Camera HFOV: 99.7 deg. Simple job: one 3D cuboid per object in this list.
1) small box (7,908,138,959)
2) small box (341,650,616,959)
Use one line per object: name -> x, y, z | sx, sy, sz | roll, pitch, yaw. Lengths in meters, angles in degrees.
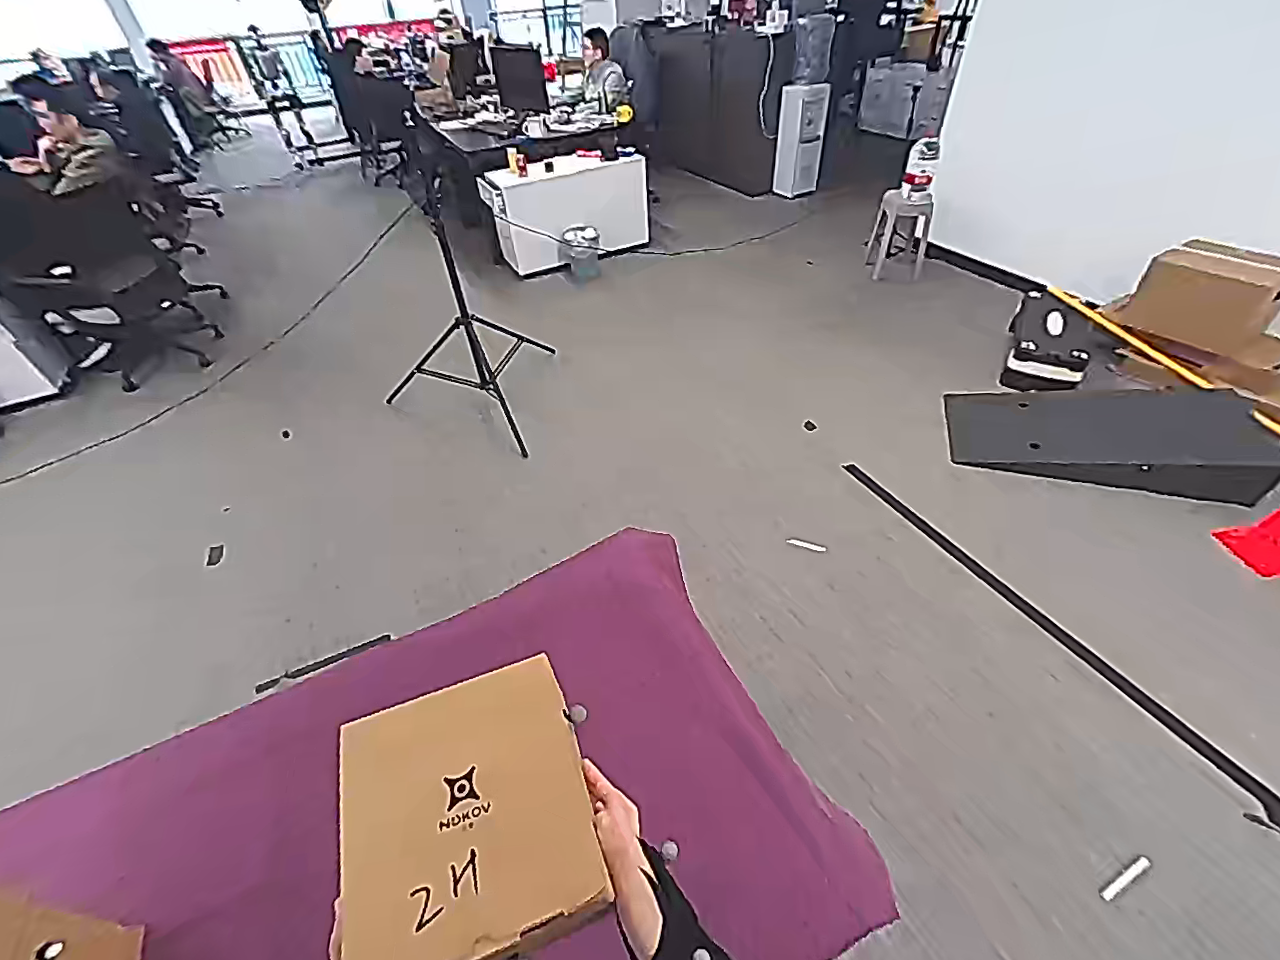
small box -> -0.627, 0.552, 0.505 | 0.168, 0.176, 0.179 | -21, 45, -17
small box -> -0.124, 0.276, 0.445 | 0.168, 0.176, 0.179 | -17, 50, -12
